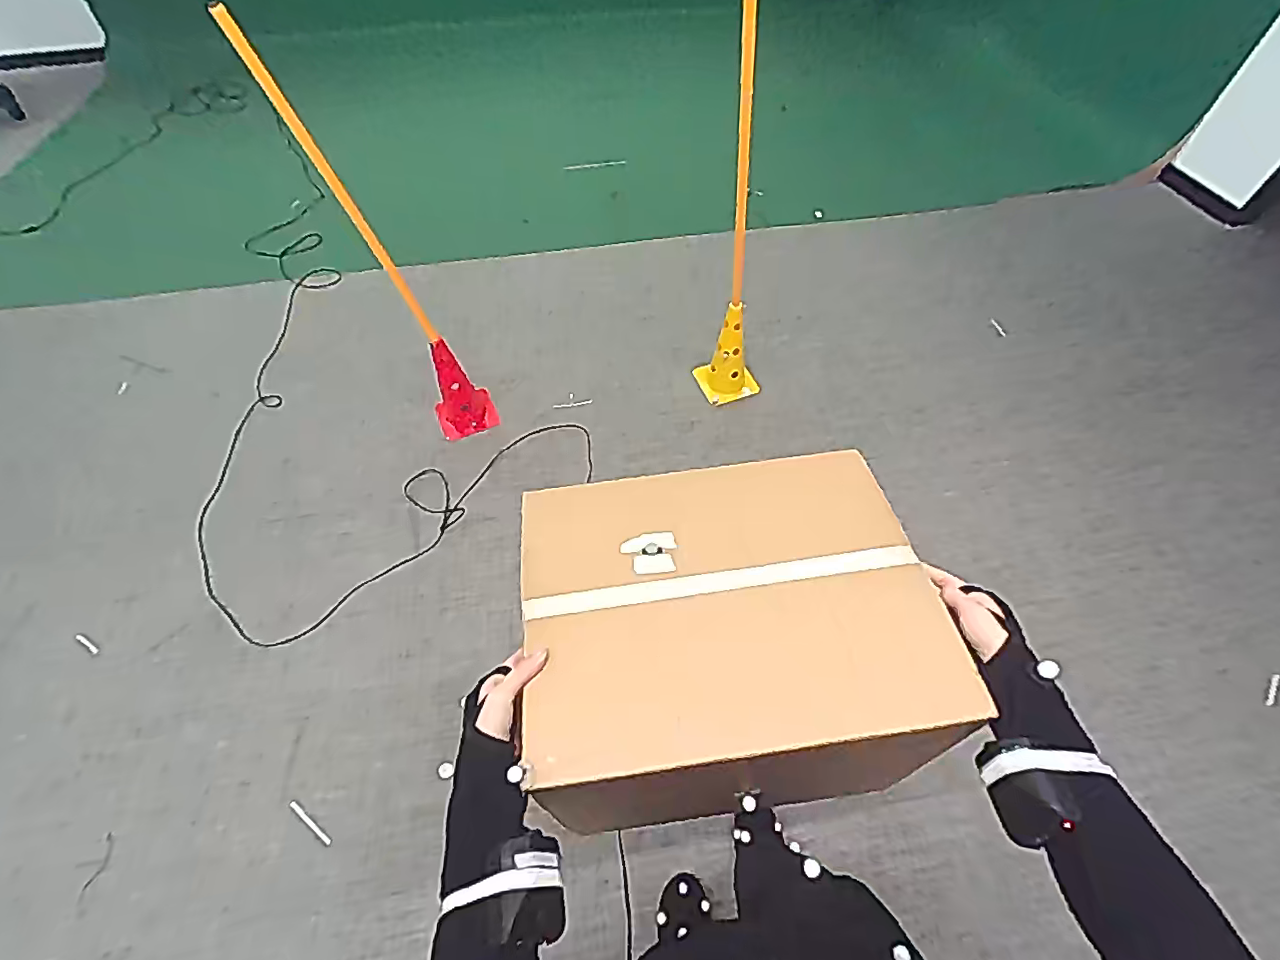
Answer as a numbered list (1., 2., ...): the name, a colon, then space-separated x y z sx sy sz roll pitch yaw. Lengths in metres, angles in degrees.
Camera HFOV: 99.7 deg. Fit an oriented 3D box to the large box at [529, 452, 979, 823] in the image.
1. large box: 0.096 0.204 0.675 0.408 0.320 0.320 -8 50 -2
